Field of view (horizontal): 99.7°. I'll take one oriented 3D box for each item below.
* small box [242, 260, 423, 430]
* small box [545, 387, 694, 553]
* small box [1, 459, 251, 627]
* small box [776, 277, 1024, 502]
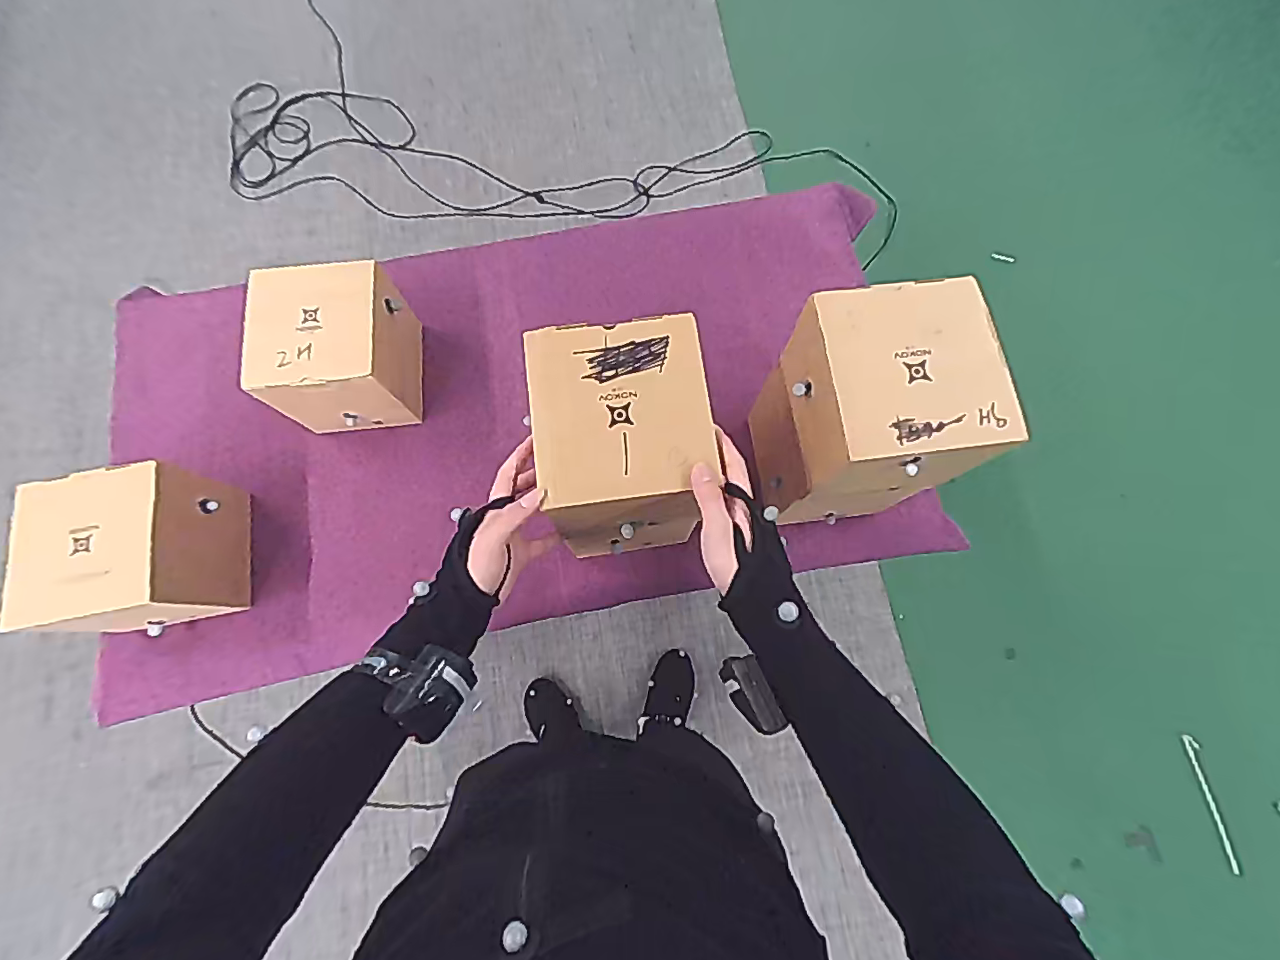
[{"bbox_3d":[-0.426,-0.186,0.778,0.168,0.176,0.179,-5,76,-1],"label":"small box"},{"bbox_3d":[-0.025,-0.002,0.733,0.168,0.176,0.179,-9,74,-2],"label":"small box"},{"bbox_3d":[-0.644,0.090,0.705,0.168,0.176,0.179,-10,75,-3],"label":"small box"},{"bbox_3d":[0.255,-0.087,0.582,0.168,0.176,0.179,-7,74,0],"label":"small box"}]
